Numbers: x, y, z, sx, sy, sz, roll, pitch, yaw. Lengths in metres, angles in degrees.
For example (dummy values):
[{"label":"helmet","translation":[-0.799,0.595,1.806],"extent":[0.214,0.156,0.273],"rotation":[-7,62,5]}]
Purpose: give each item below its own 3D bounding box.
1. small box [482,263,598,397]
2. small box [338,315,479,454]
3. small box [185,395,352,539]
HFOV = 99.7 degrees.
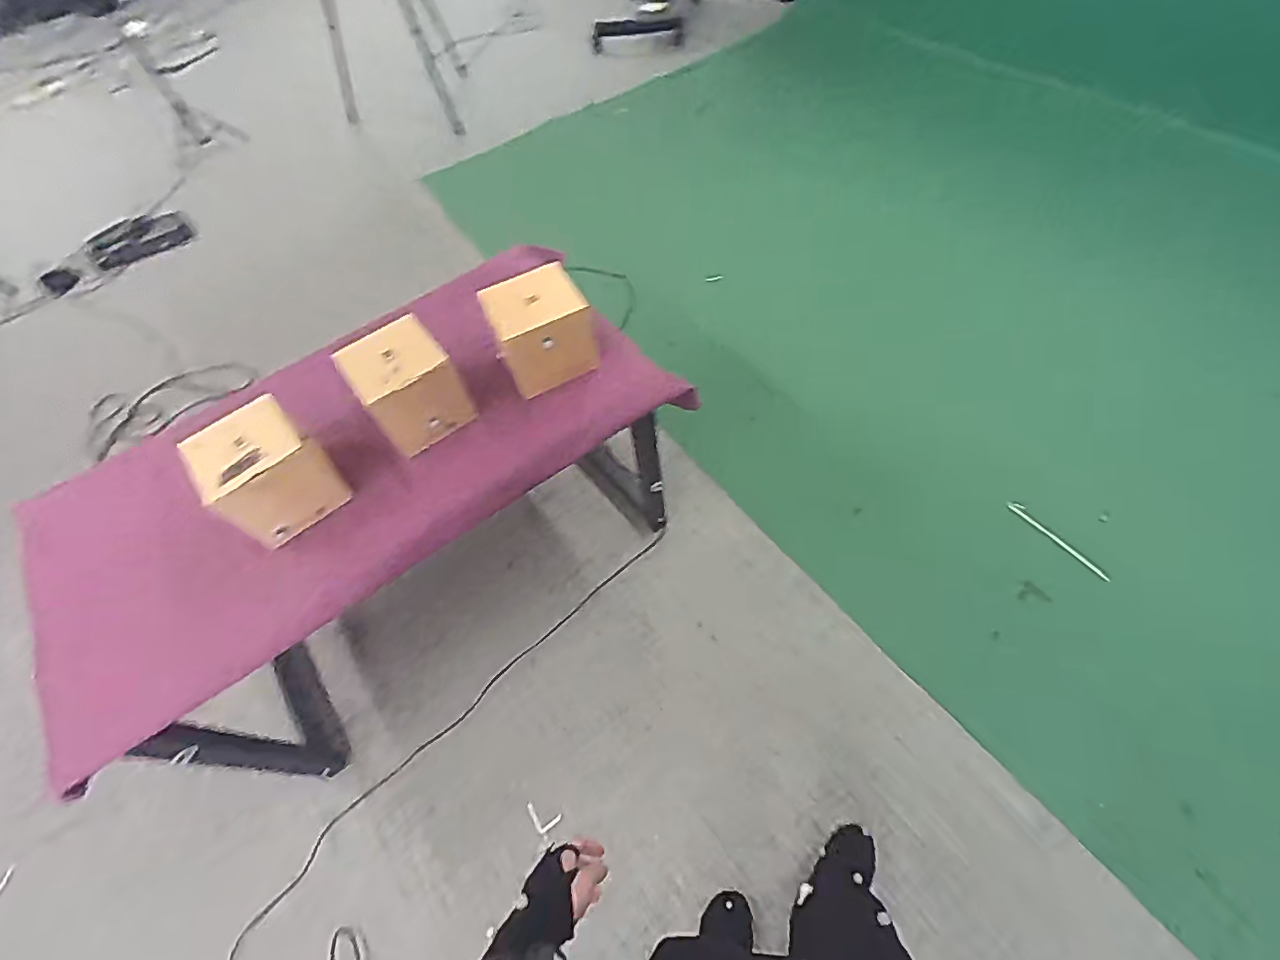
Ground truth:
[{"label":"small box","translation":[-0.198,-0.307,1.121],"extent":[0.179,0.176,0.168],"rotation":[-26,59,-9]},{"label":"small box","translation":[-0.452,-0.185,1.072],"extent":[0.168,0.176,0.179],"rotation":[-35,61,-14]},{"label":"small box","translation":[-0.668,-0.014,0.990],"extent":[0.168,0.176,0.179],"rotation":[-38,61,-17]}]
